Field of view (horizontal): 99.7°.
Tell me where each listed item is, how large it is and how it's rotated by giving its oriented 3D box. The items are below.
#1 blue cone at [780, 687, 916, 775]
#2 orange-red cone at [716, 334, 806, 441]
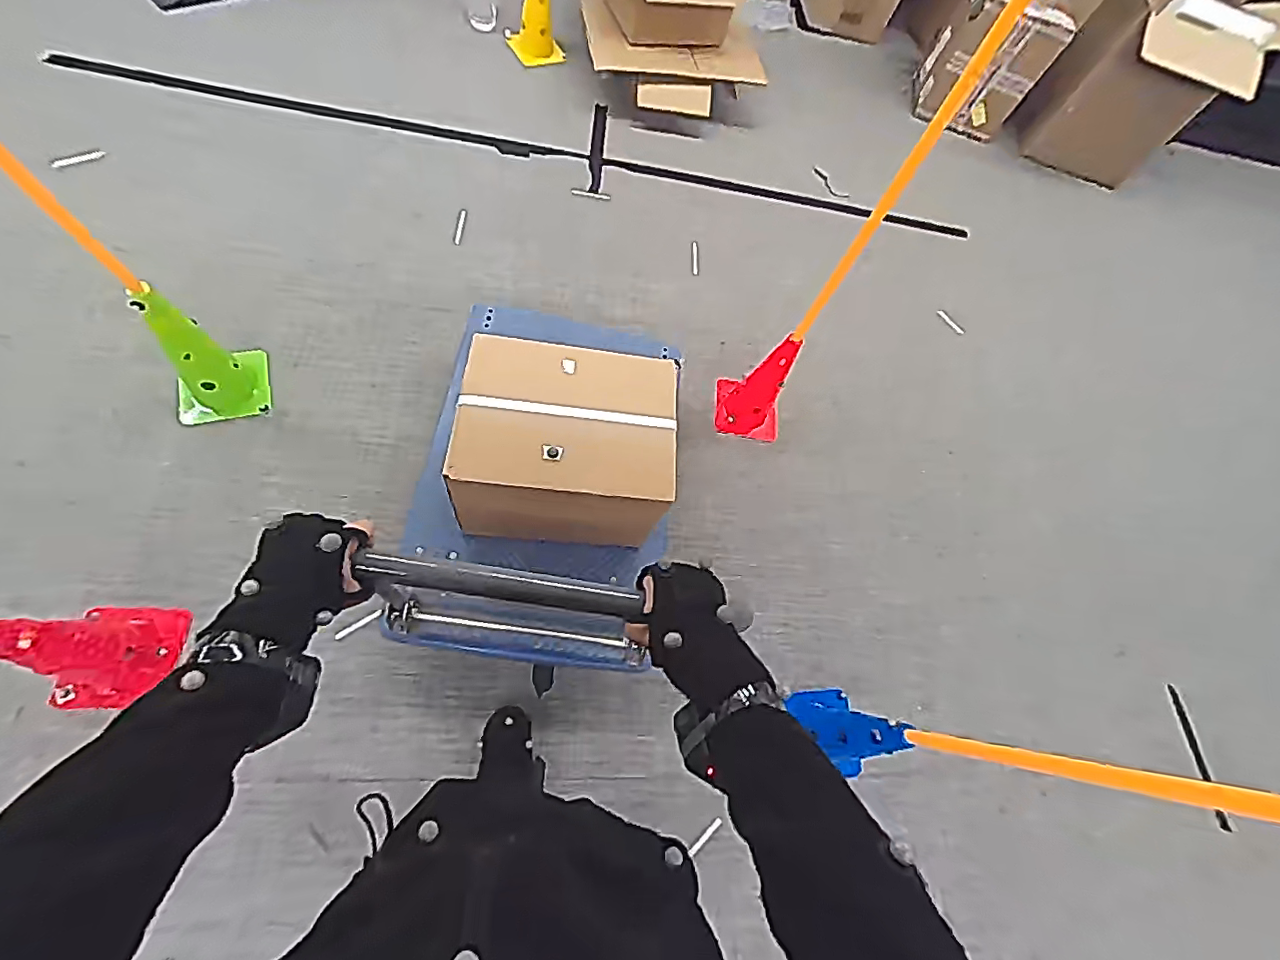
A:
[{"bbox_3d":[0.478,0.550,1.192,0.193,0.380,0.192,2,65,-12],"label":"blue cone"},{"bbox_3d":[0.374,-0.289,1.531,0.199,0.360,0.198,12,65,-8],"label":"orange-red cone"}]
